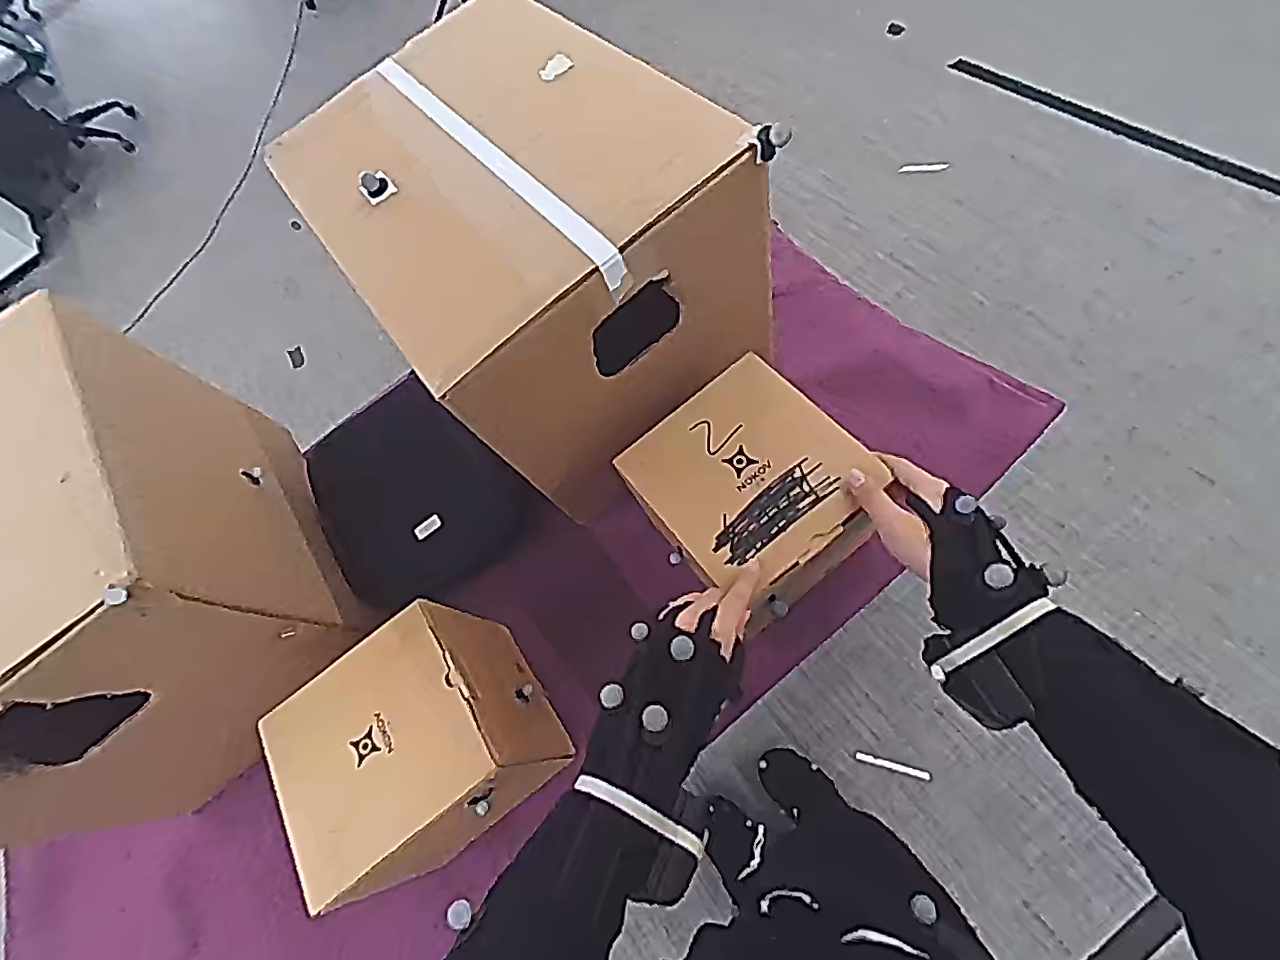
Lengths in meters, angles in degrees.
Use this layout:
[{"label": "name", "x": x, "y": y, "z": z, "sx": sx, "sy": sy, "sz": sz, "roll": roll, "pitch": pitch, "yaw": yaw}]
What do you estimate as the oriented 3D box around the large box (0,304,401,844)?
[{"label": "large box", "x": -0.553, "y": 0.099, "z": 0.591, "sx": 0.320, "sy": 0.320, "sz": 0.408, "roll": -42, "pitch": 66, "yaw": -5}]
